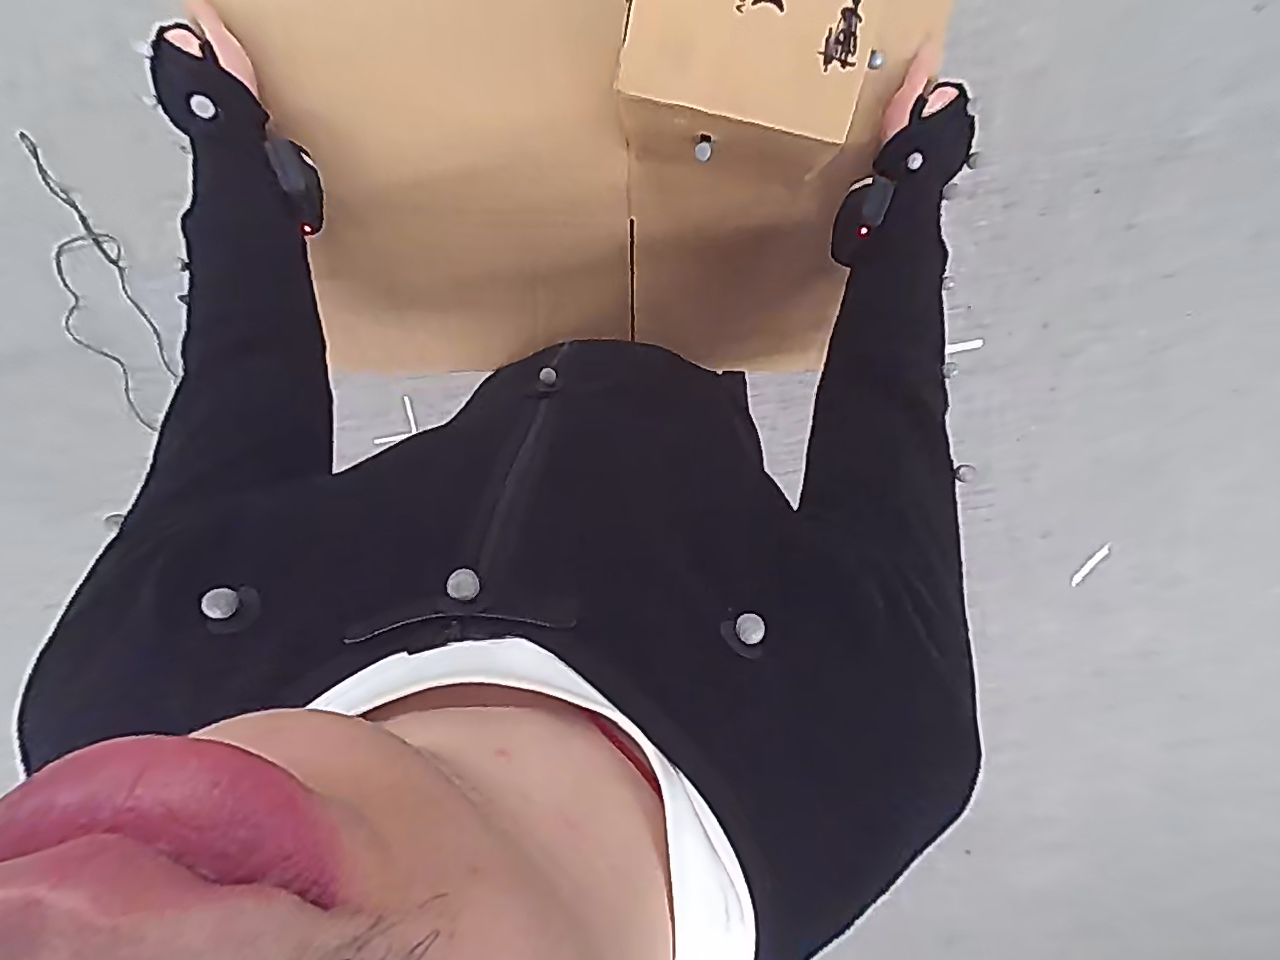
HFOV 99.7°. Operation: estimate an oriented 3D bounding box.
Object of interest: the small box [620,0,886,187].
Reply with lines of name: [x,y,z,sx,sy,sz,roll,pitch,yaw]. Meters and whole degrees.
small box: [0.094,-0.369,0.459,0.179,0.176,0.168,14,107,1]
